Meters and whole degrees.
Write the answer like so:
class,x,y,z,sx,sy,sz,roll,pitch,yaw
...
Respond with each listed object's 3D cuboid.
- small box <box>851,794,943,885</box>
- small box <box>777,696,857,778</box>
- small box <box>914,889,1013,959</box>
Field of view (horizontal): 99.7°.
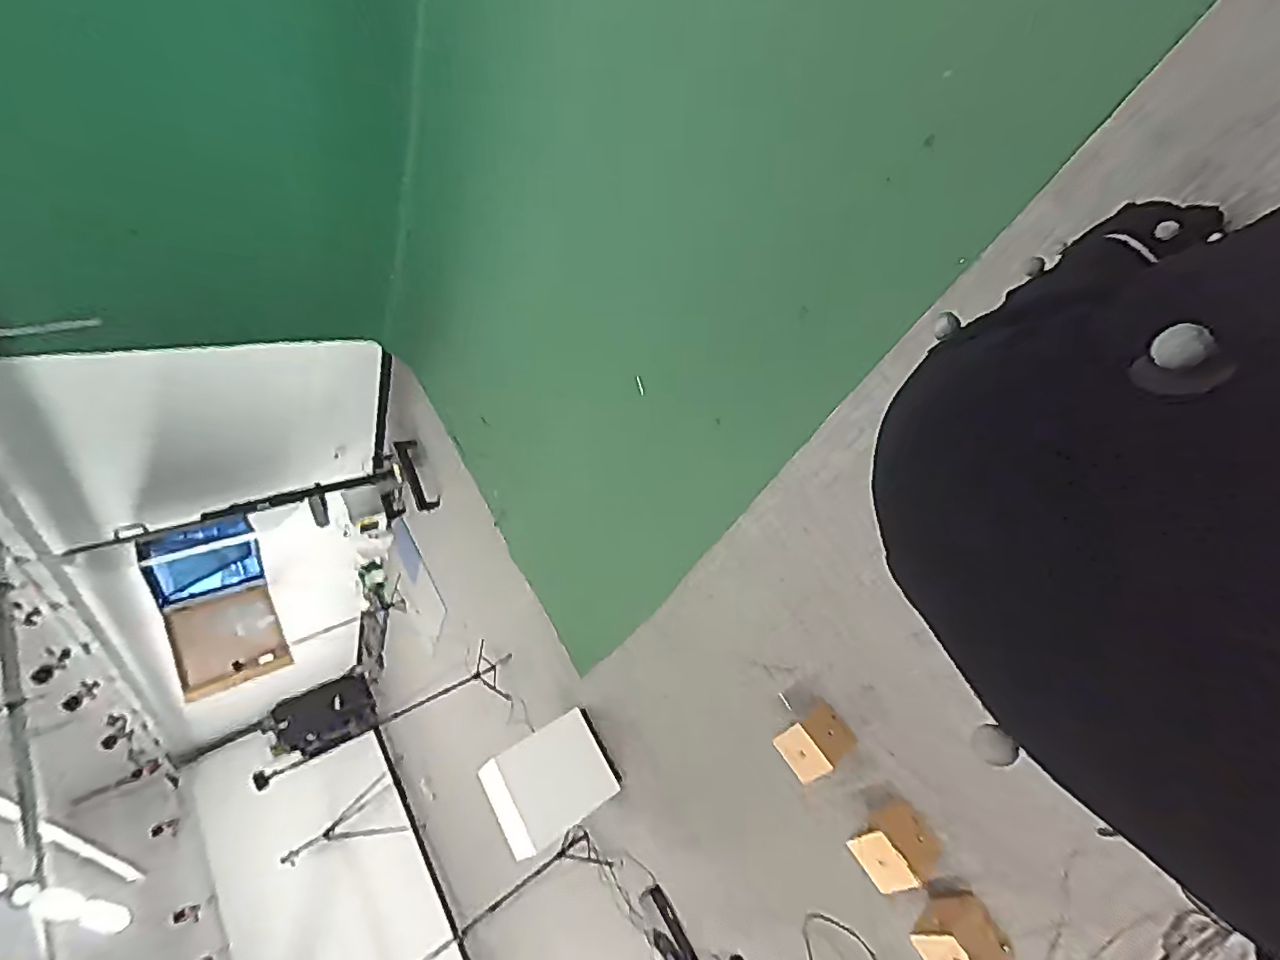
class,x,y,z,sx,sy,sz,roll,pitch,yaw
small box,0.819,1.140,1.719,0.168,0.176,0.179,52,136,23
small box,0.616,0.880,1.863,0.168,0.176,0.179,52,136,25
small box,0.973,1.364,1.617,0.168,0.176,0.179,56,139,20
